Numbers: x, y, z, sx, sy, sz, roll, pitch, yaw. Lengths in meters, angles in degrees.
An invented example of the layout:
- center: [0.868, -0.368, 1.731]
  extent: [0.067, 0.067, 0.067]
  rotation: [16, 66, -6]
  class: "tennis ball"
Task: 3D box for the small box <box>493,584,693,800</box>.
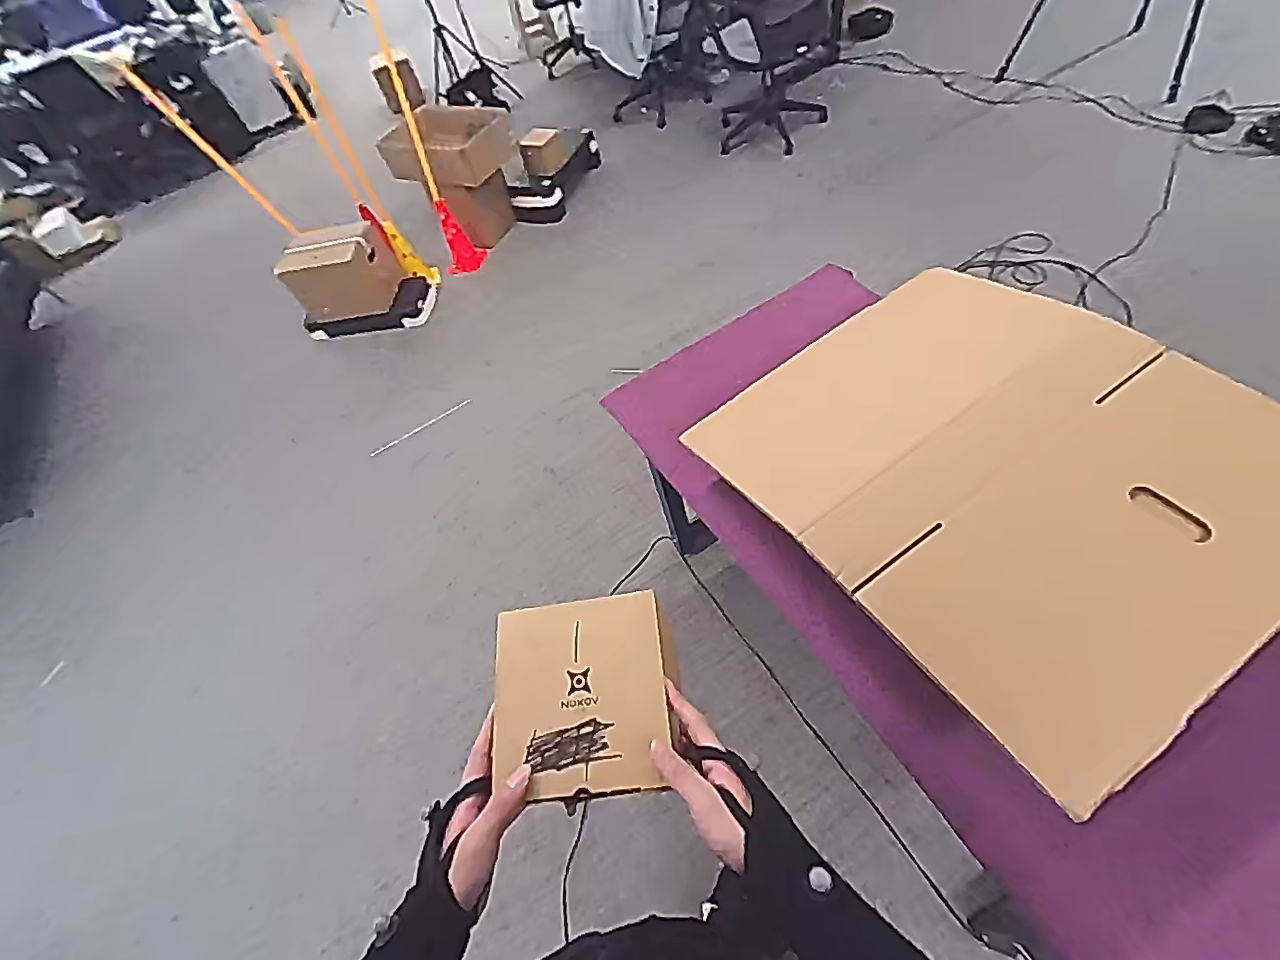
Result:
- center: [-0.041, 0.227, 0.569]
  extent: [0.168, 0.176, 0.179]
  rotation: [-9, 59, 6]
  class: "small box"
